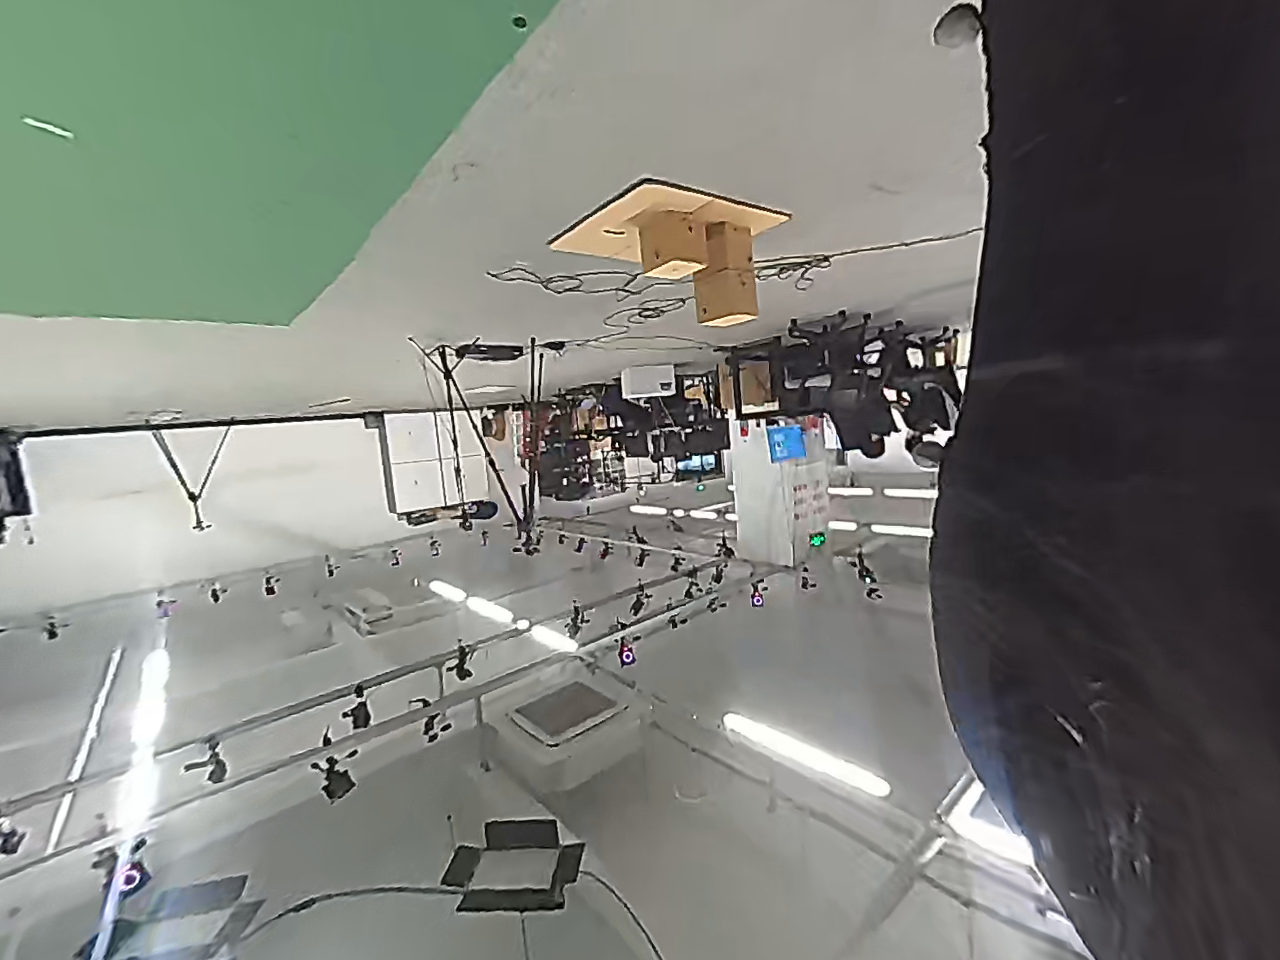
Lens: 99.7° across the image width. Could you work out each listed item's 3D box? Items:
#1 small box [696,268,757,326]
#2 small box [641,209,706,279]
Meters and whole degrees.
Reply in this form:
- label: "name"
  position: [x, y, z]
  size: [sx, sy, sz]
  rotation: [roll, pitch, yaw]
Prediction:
- label: "small box"
  position: [0.329, -0.699, 2.076]
  size: [0.168, 0.176, 0.179]
  rotation: [-12, -172, -41]
- label: "small box"
  position: [0.116, -0.831, 1.915]
  size: [0.168, 0.176, 0.179]
  rotation: [-9, -174, -36]
